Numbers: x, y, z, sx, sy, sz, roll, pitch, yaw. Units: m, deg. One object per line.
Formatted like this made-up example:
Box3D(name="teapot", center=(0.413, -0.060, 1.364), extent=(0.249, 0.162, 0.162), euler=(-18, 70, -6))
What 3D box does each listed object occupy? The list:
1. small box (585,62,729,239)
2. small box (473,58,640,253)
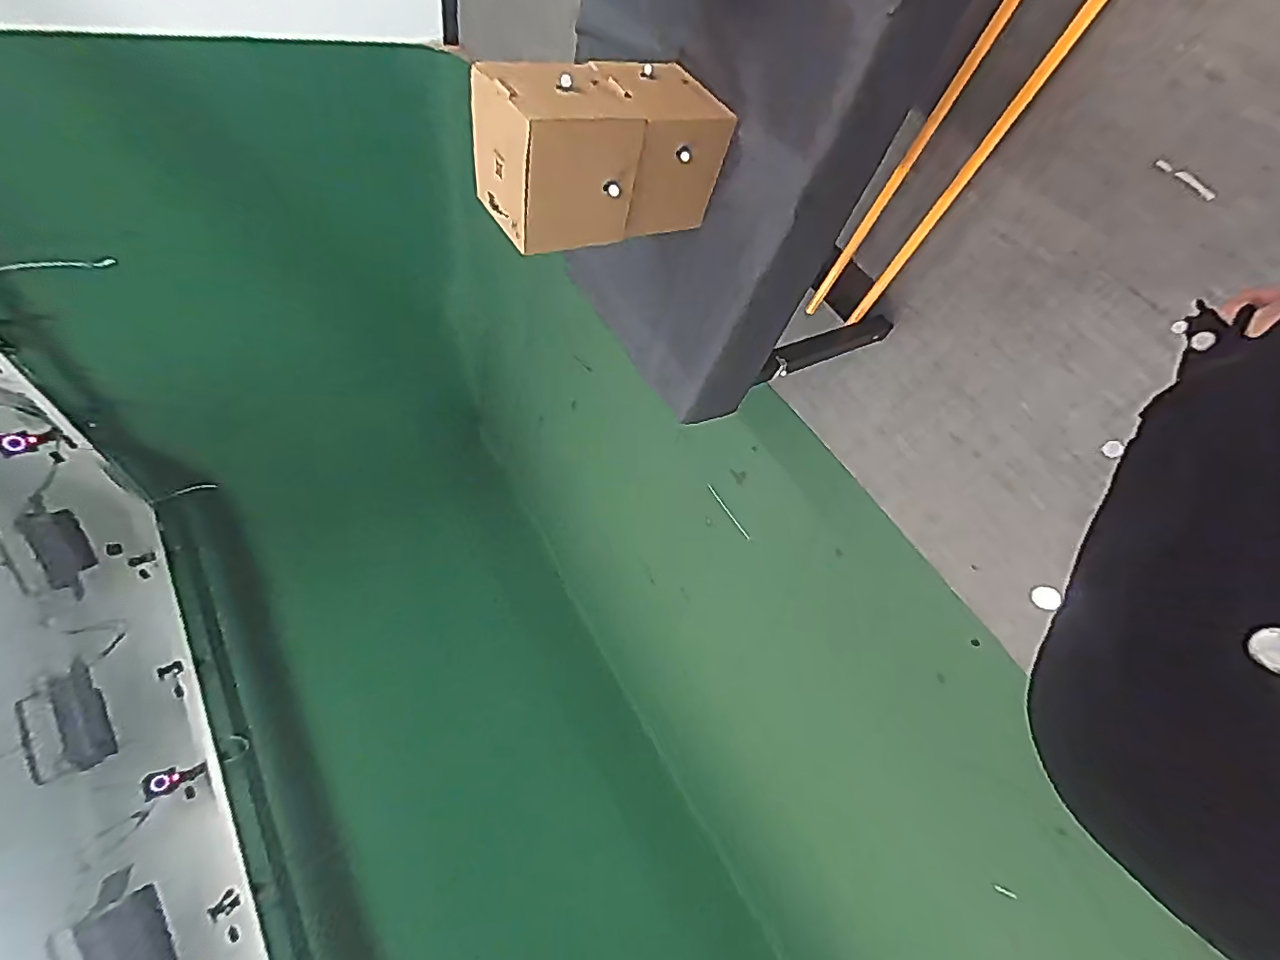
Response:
Box3D(name="small box", center=(0.012, -0.508, 0.838), extent=(0.168, 0.176, 0.179), euler=(57, 150, 22))
Box3D(name="small box", center=(-0.119, -0.450, 0.757), extent=(0.168, 0.176, 0.179), euler=(55, 148, 25))
